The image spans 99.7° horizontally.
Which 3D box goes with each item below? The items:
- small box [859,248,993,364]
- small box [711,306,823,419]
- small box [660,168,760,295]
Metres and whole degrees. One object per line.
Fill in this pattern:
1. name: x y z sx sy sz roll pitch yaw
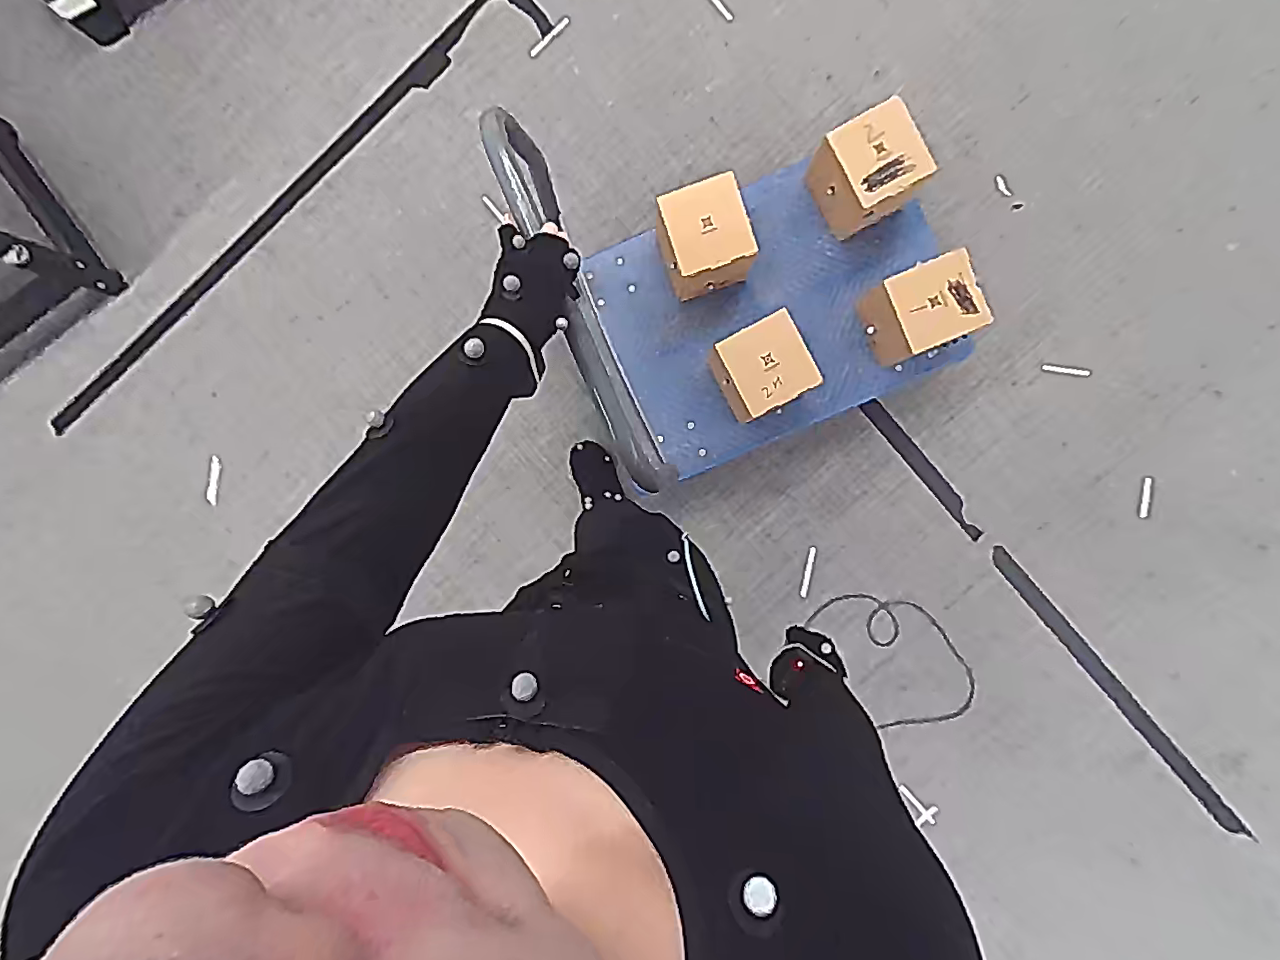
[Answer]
1. small box: 0.609 -0.367 1.171 0.179 0.176 0.168 -22 91 4
2. small box: 0.268 -0.248 1.187 0.168 0.176 0.179 -27 91 3
3. small box: 0.144 -0.531 1.181 0.168 0.176 0.179 -18 93 2
